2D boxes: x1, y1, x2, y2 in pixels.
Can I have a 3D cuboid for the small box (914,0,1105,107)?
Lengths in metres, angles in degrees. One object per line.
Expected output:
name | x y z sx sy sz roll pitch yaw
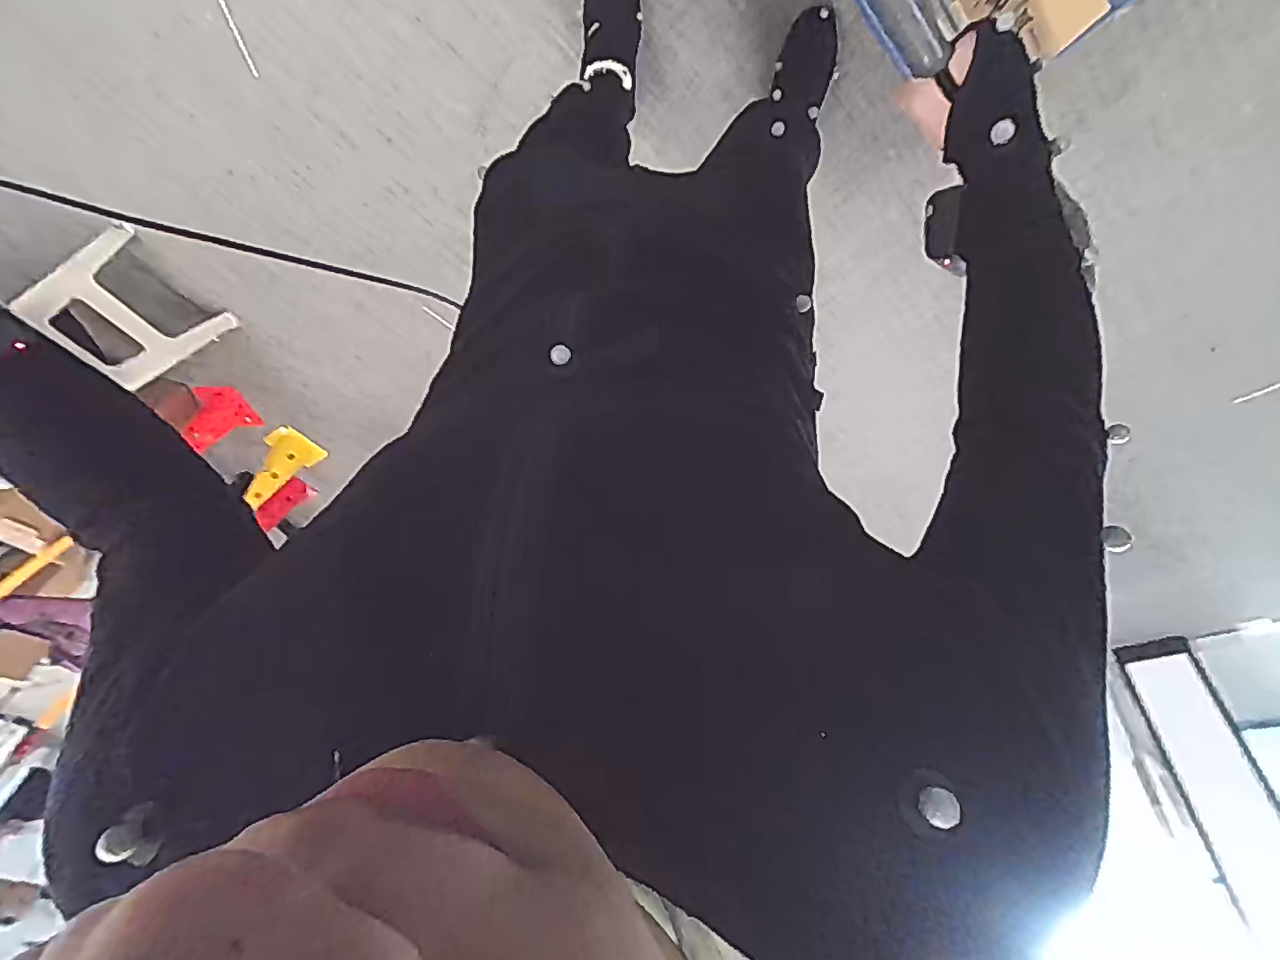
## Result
small box | 0.555 -0.735 0.834 0.179 0.176 0.168 31 135 -25
